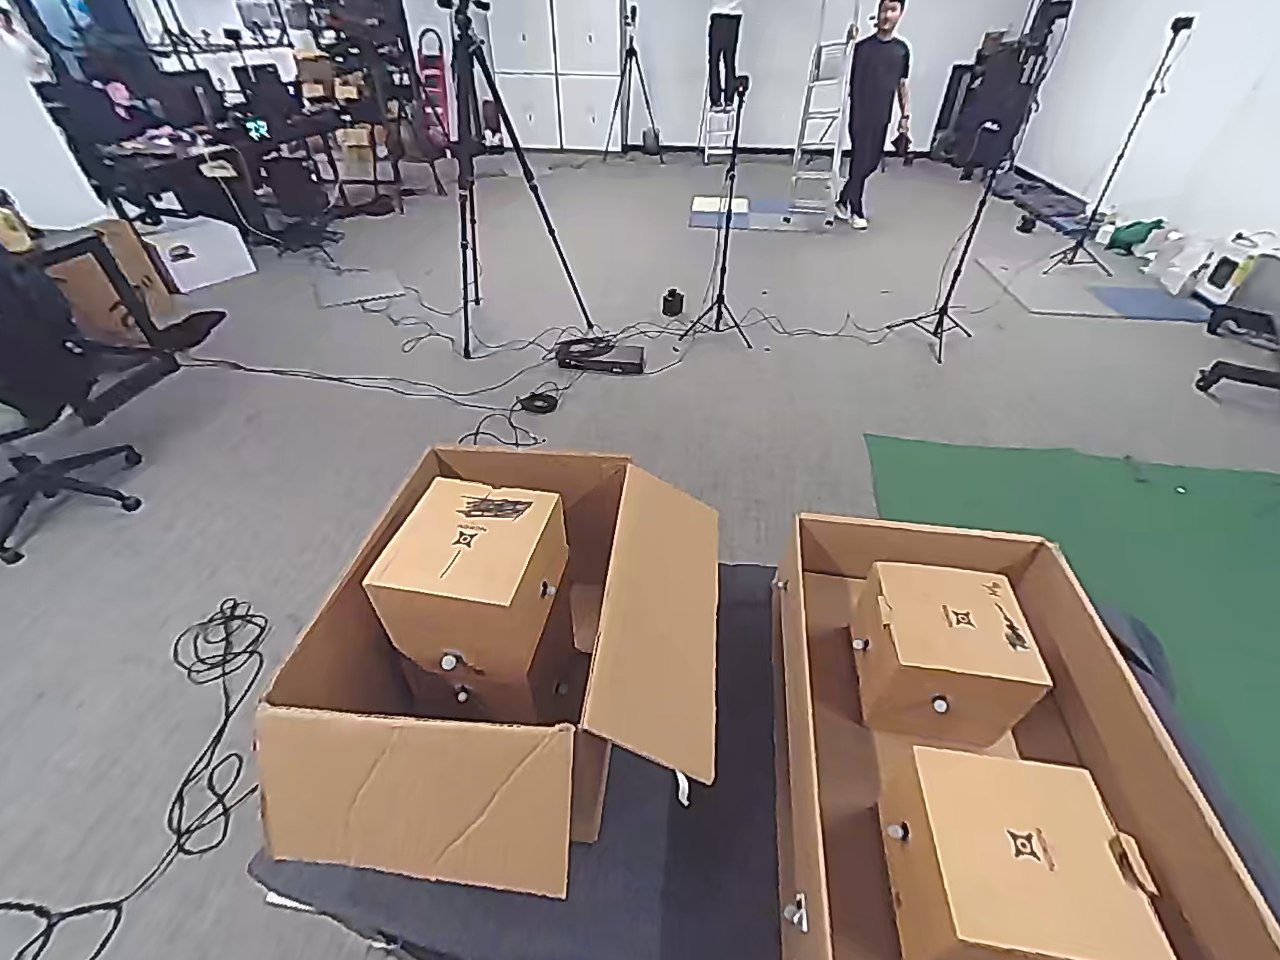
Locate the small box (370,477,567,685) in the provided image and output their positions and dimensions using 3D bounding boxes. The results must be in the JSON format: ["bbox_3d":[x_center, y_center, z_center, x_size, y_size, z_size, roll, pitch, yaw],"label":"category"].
[{"bbox_3d":[-0.193,0.123,0.674,0.168,0.176,0.179,8,43,8],"label":"small box"}]
